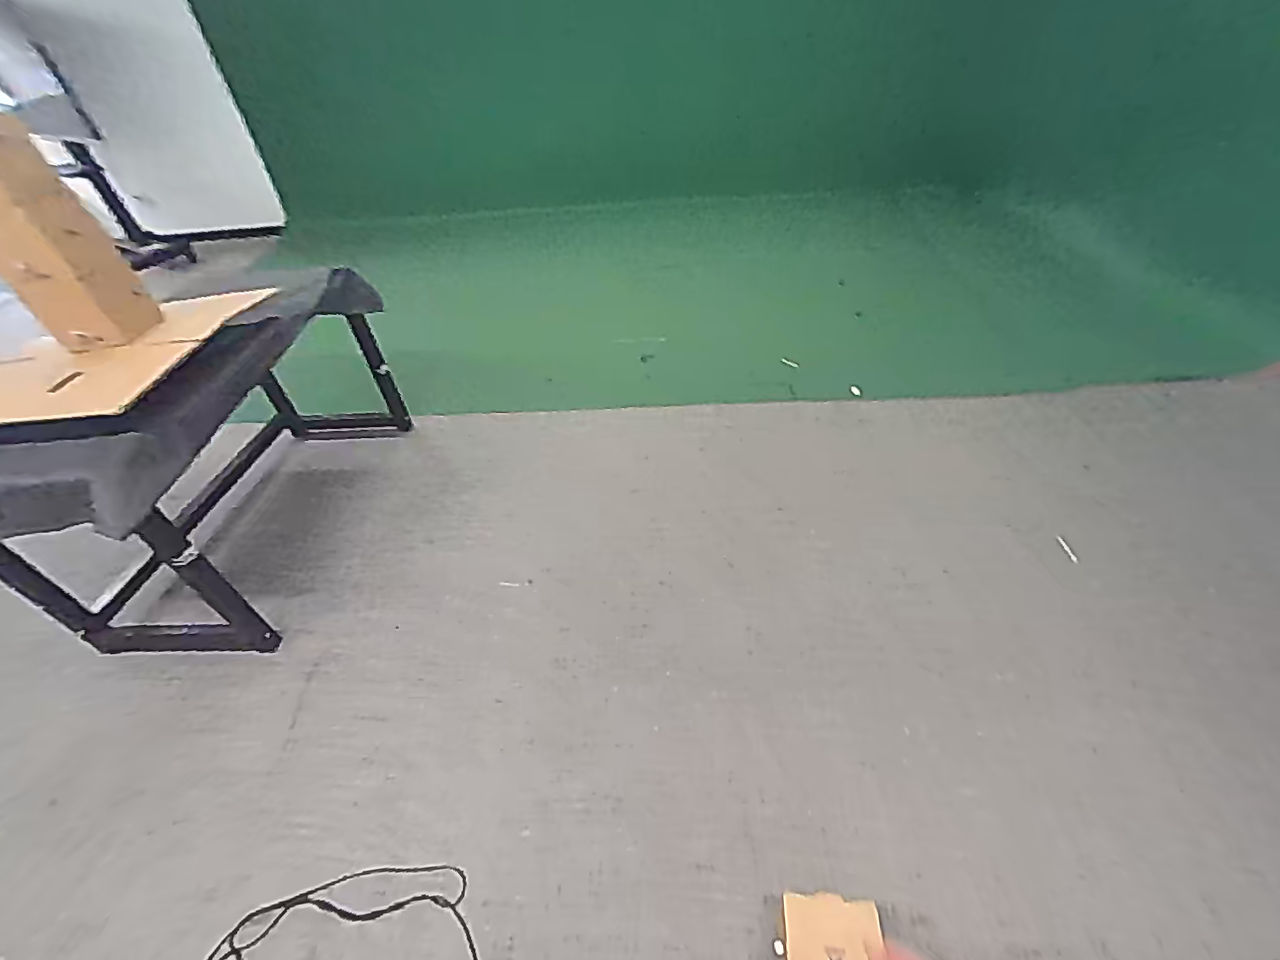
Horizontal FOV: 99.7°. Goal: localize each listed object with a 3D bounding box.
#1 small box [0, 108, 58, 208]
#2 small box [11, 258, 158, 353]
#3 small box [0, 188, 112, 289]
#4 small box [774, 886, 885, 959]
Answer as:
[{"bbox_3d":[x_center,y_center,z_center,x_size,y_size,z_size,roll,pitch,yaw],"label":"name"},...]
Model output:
[{"bbox_3d":[-1.465,-0.698,1.188,0.168,0.176,0.179,-11,41,-1],"label":"small box"},{"bbox_3d":[-1.413,-0.451,1.396,0.168,0.176,0.179,-11,41,0],"label":"small box"},{"bbox_3d":[-1.437,-0.575,1.290,0.168,0.176,0.179,-11,41,0],"label":"small box"},{"bbox_3d":[0.336,0.865,0.969,0.168,0.176,0.179,1,41,7],"label":"small box"}]
